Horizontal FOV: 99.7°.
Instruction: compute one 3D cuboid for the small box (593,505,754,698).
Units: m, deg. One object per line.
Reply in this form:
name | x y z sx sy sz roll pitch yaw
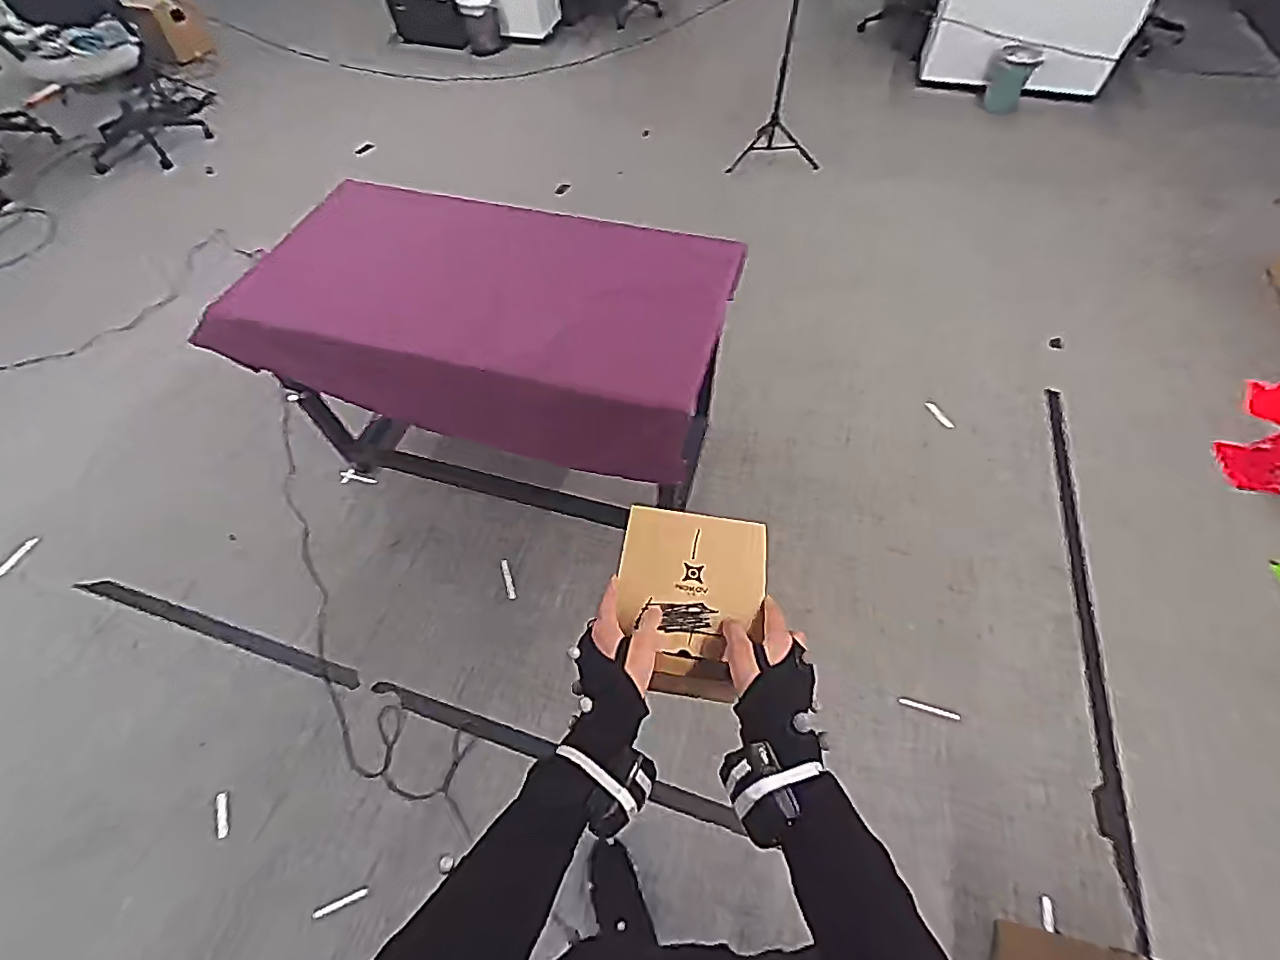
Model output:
small box | 0.042 0.156 0.668 0.168 0.176 0.179 8 56 3
